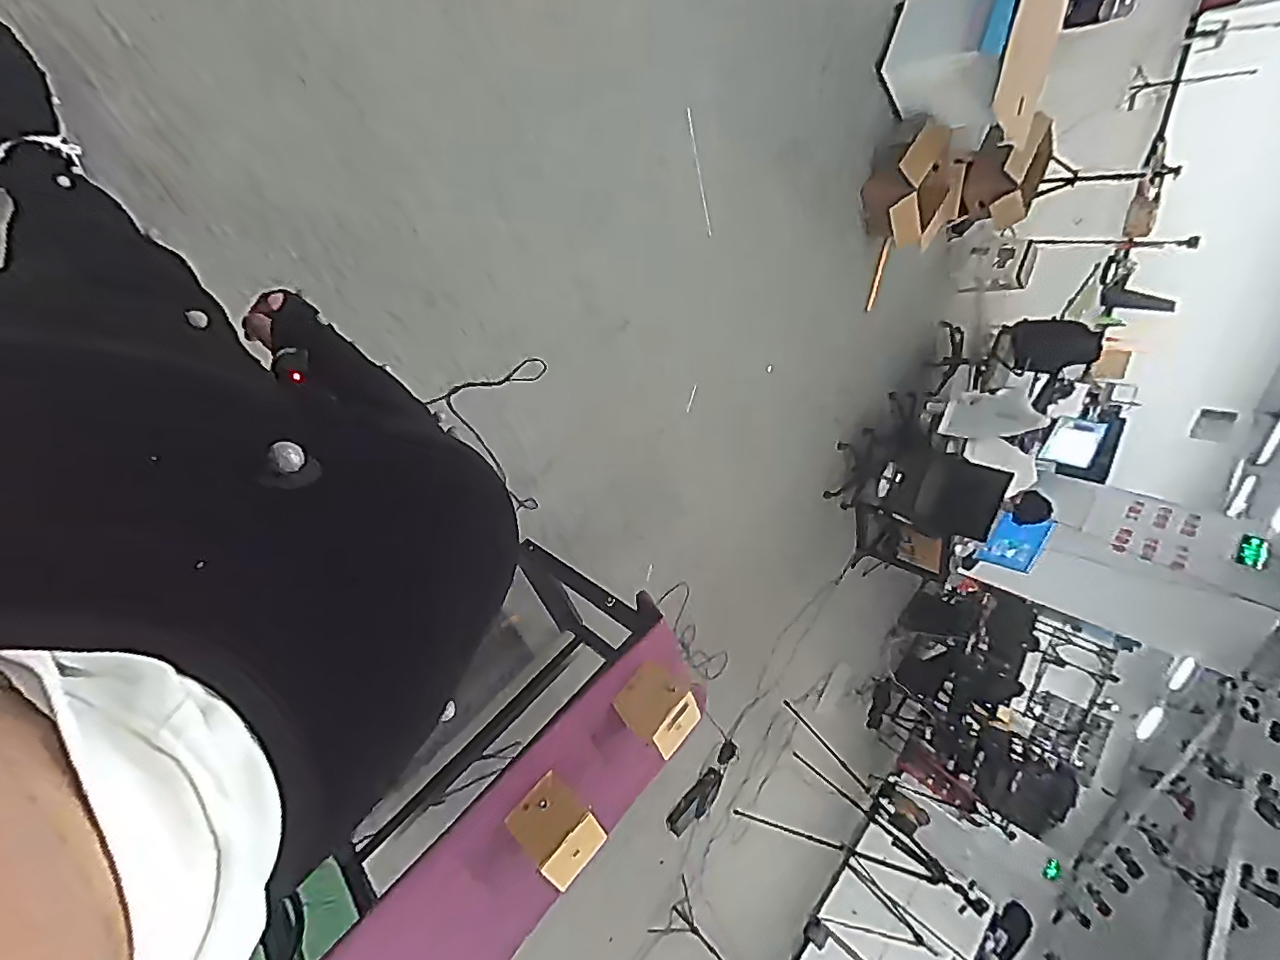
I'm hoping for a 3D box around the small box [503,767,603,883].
[{"bbox_3d":[-0.230,0.905,1.430,0.168,0.176,0.179,-40,133,-27],"label":"small box"}]
